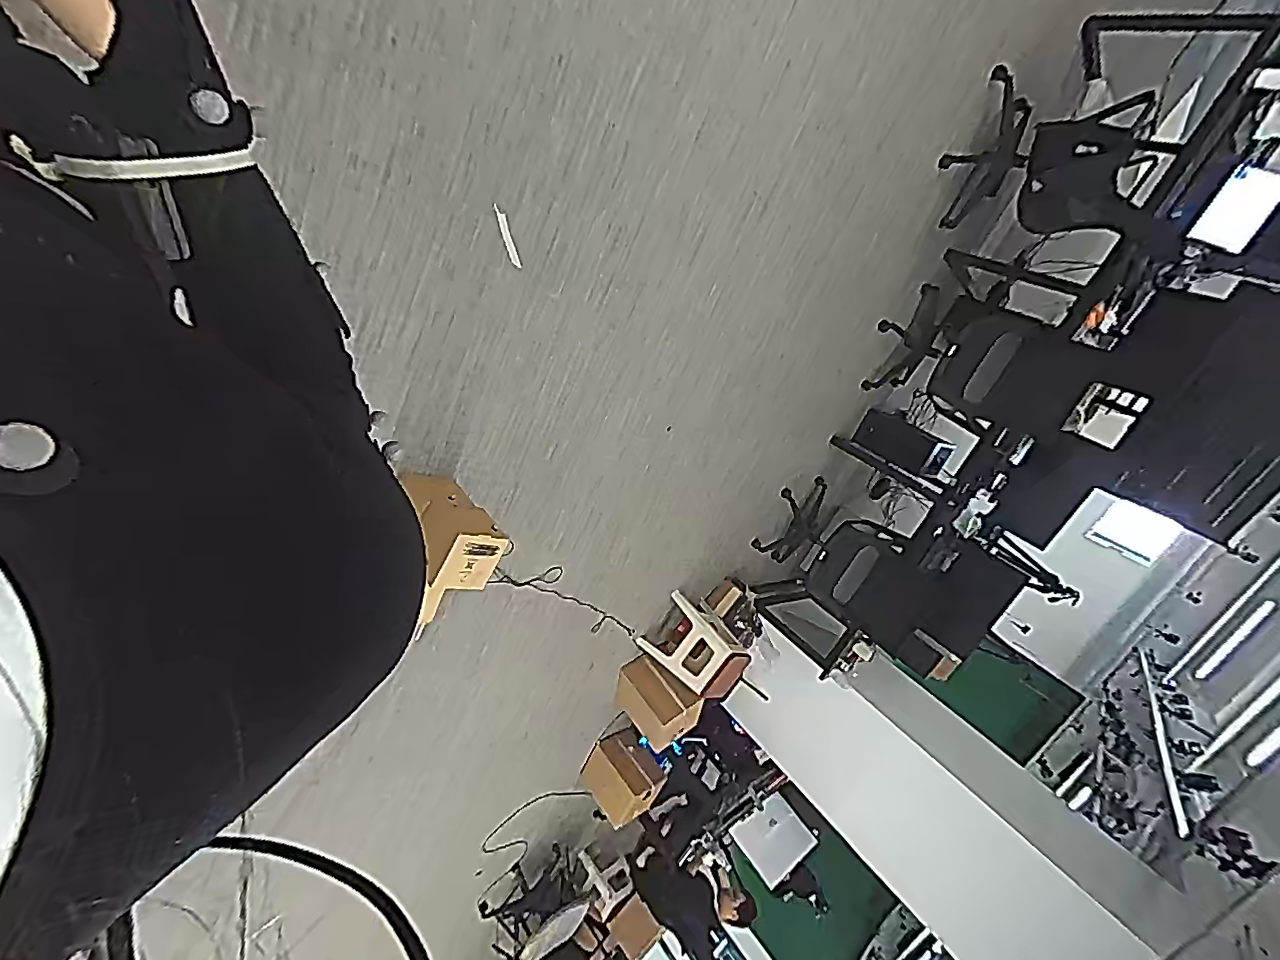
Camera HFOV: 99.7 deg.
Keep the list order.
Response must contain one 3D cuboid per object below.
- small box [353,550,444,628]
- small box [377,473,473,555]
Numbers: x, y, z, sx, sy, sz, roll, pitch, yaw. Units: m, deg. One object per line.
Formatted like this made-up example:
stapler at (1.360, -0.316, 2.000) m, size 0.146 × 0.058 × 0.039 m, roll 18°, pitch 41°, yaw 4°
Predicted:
small box at (-0.738, 0.327, 1.648) m, size 0.179 × 0.176 × 0.168 m, roll 10°, pitch 111°, yaw -50°
small box at (-0.627, 0.098, 1.575) m, size 0.179 × 0.176 × 0.168 m, roll 18°, pitch 106°, yaw -51°
